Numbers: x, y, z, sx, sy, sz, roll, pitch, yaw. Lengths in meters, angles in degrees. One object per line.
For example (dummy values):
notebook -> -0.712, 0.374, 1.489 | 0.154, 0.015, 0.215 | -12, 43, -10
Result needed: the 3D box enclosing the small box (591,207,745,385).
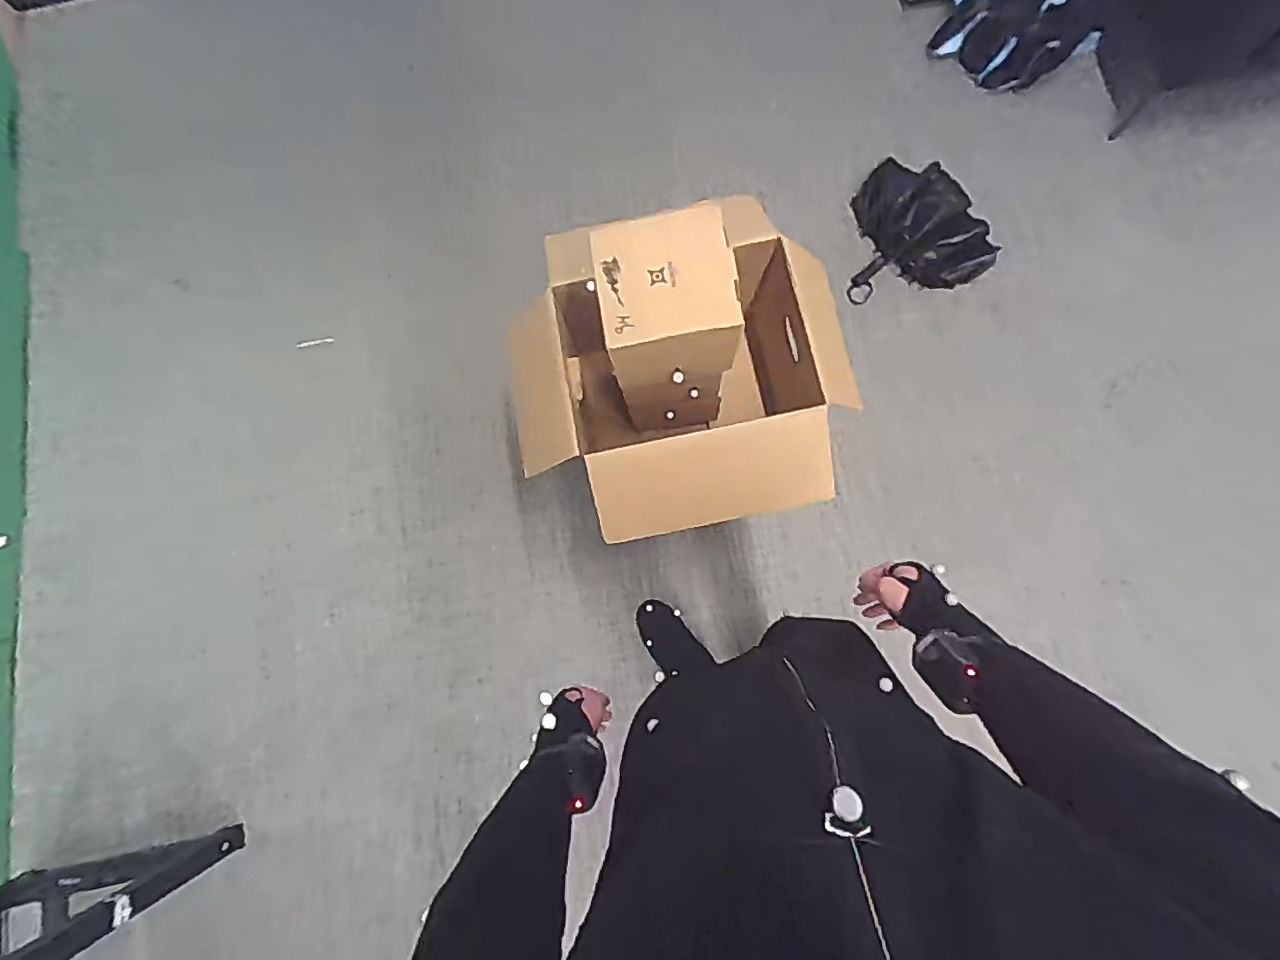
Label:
small box -> 0.037, -0.246, 0.760 | 0.179, 0.176, 0.168 | -10, 81, 2
